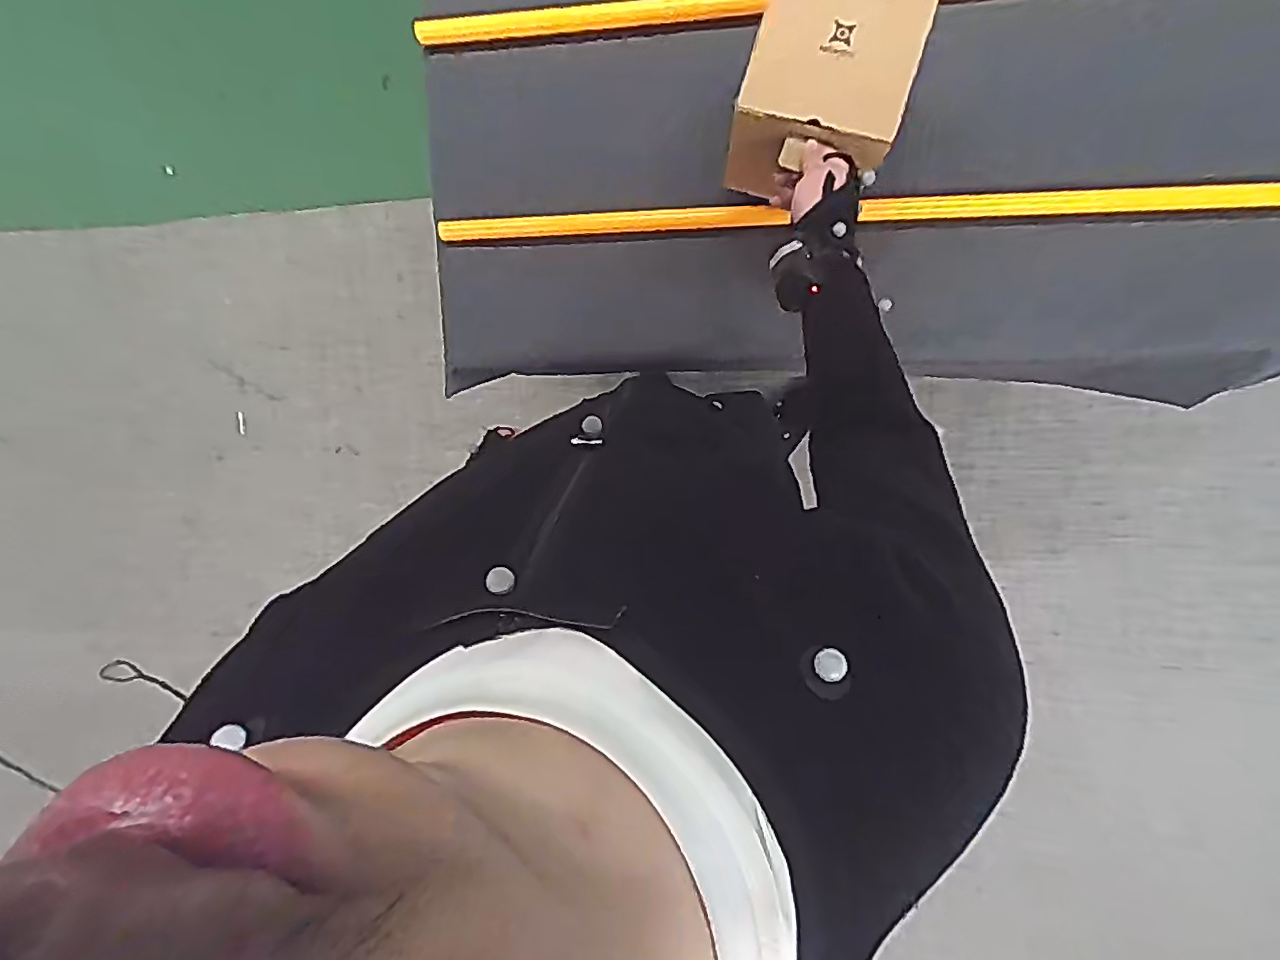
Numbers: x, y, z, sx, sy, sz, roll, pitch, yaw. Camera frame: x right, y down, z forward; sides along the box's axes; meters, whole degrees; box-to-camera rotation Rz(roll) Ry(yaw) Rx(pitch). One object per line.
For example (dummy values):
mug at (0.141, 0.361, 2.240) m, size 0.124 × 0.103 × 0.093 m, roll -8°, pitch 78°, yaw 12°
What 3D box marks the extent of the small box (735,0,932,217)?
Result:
small box at (0.214, -0.441, 0.640) m, size 0.168 × 0.176 × 0.179 m, roll 14°, pitch 94°, yaw 8°
